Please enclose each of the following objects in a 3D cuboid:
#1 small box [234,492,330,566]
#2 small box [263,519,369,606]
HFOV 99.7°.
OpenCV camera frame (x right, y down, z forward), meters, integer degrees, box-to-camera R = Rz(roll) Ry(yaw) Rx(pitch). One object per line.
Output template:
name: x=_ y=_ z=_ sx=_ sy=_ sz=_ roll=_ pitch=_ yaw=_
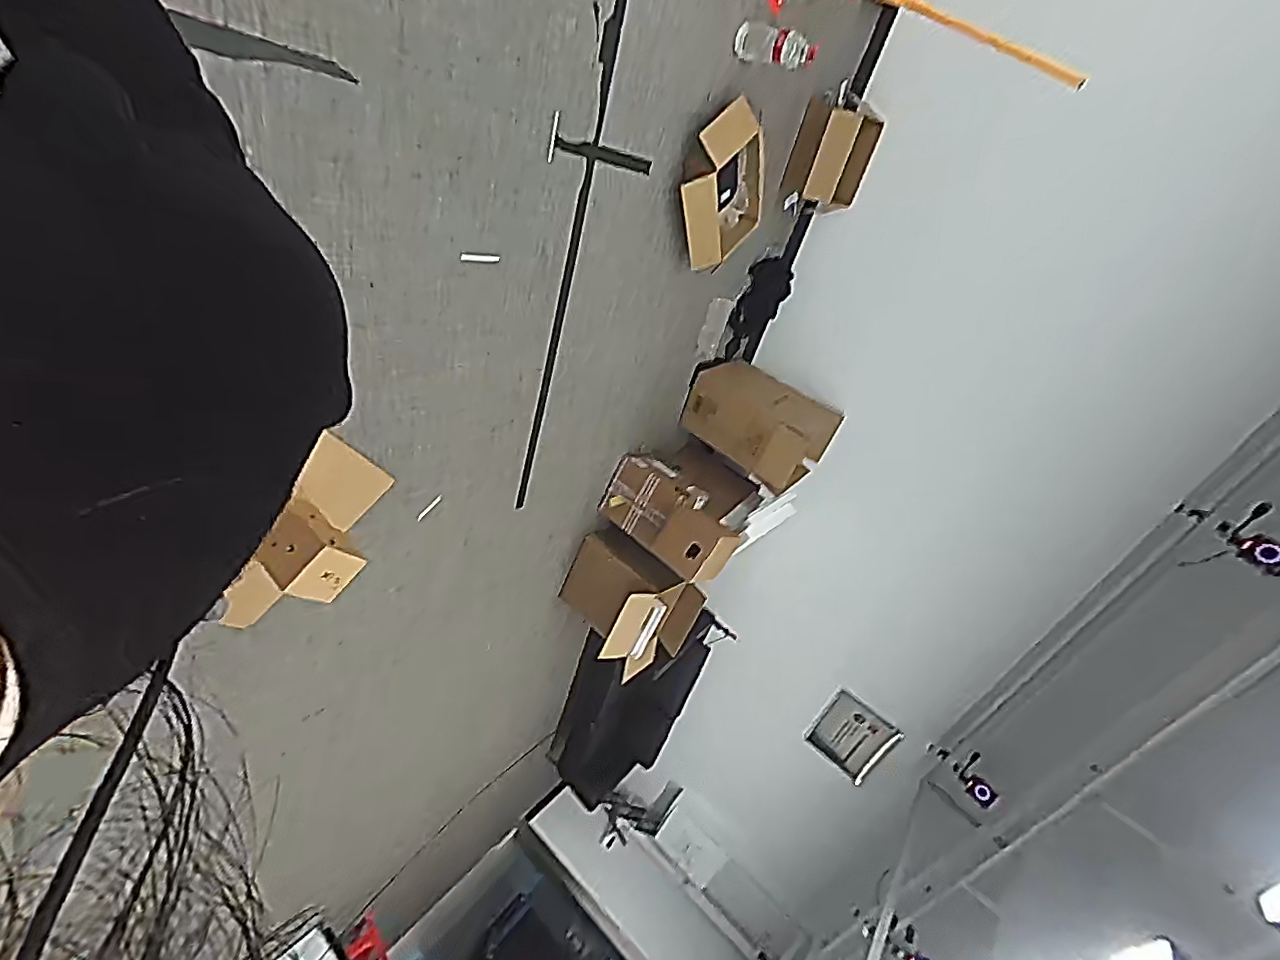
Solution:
small box: x=-1.077 y=0.162 z=1.650 sx=0.168 sy=0.176 sz=0.179 roll=-51 pitch=154 yaw=-8
small box: x=-0.948 y=0.238 z=1.580 sx=0.168 sy=0.176 sz=0.179 roll=-49 pitch=155 yaw=-9
